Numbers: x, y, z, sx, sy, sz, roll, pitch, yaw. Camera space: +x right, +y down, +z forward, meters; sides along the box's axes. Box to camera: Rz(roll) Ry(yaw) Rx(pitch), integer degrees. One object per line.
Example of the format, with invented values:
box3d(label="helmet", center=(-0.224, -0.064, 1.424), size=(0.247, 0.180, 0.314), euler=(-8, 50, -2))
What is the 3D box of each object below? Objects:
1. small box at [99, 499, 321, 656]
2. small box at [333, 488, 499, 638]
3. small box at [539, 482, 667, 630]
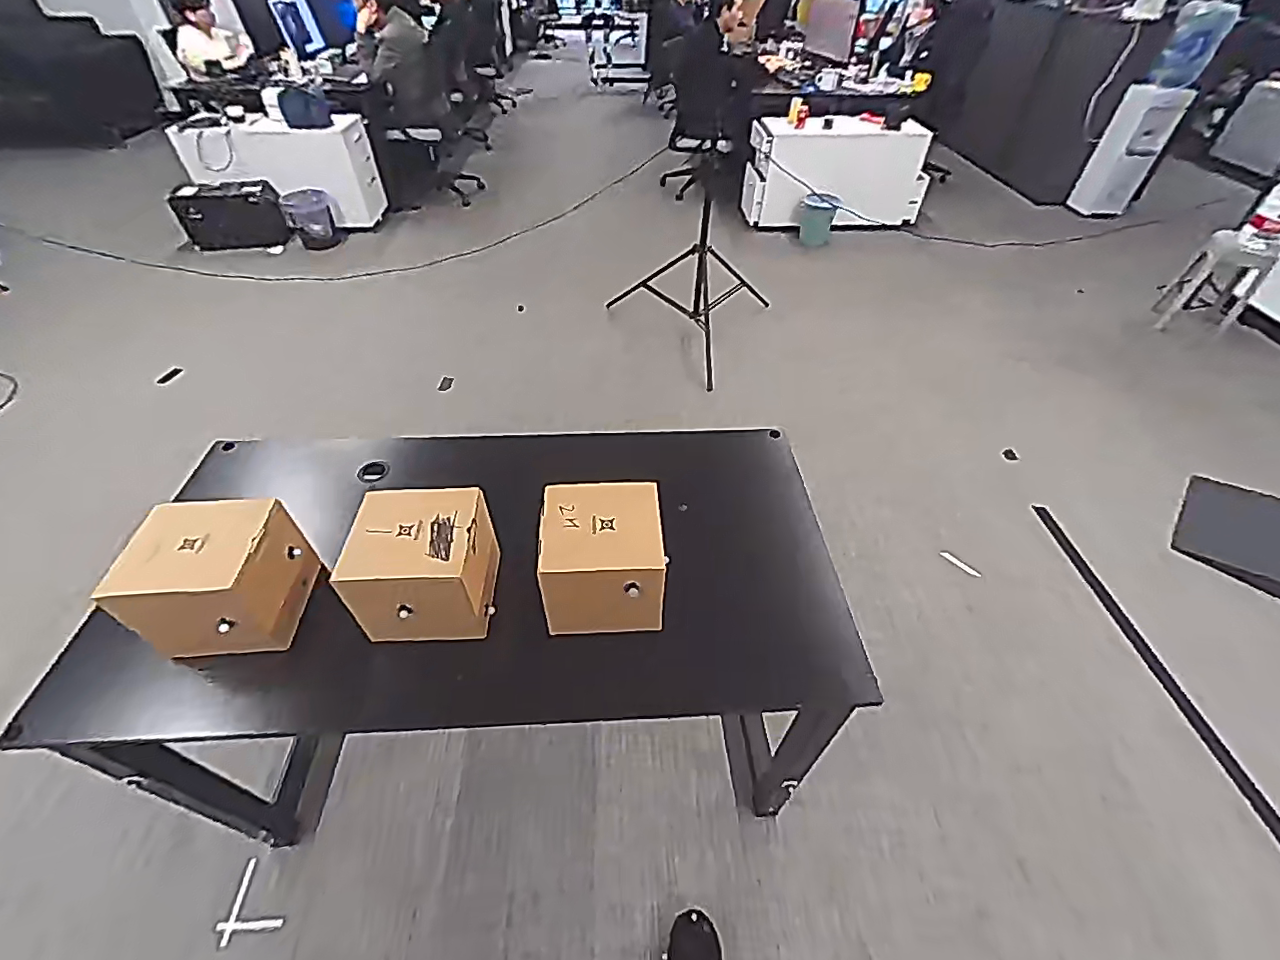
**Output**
box3d(label="small box", center=(-0.619, 0.147, 0.813), size=(0.179, 0.176, 0.168), euler=(-4, 45, -4))
box3d(label="small box", center=(-0.325, 0.130, 0.832), size=(0.179, 0.176, 0.168), euler=(-2, 46, -1))
box3d(label="small box", center=(-0.055, 0.120, 0.845), size=(0.179, 0.176, 0.168), euler=(-2, 45, -2))
